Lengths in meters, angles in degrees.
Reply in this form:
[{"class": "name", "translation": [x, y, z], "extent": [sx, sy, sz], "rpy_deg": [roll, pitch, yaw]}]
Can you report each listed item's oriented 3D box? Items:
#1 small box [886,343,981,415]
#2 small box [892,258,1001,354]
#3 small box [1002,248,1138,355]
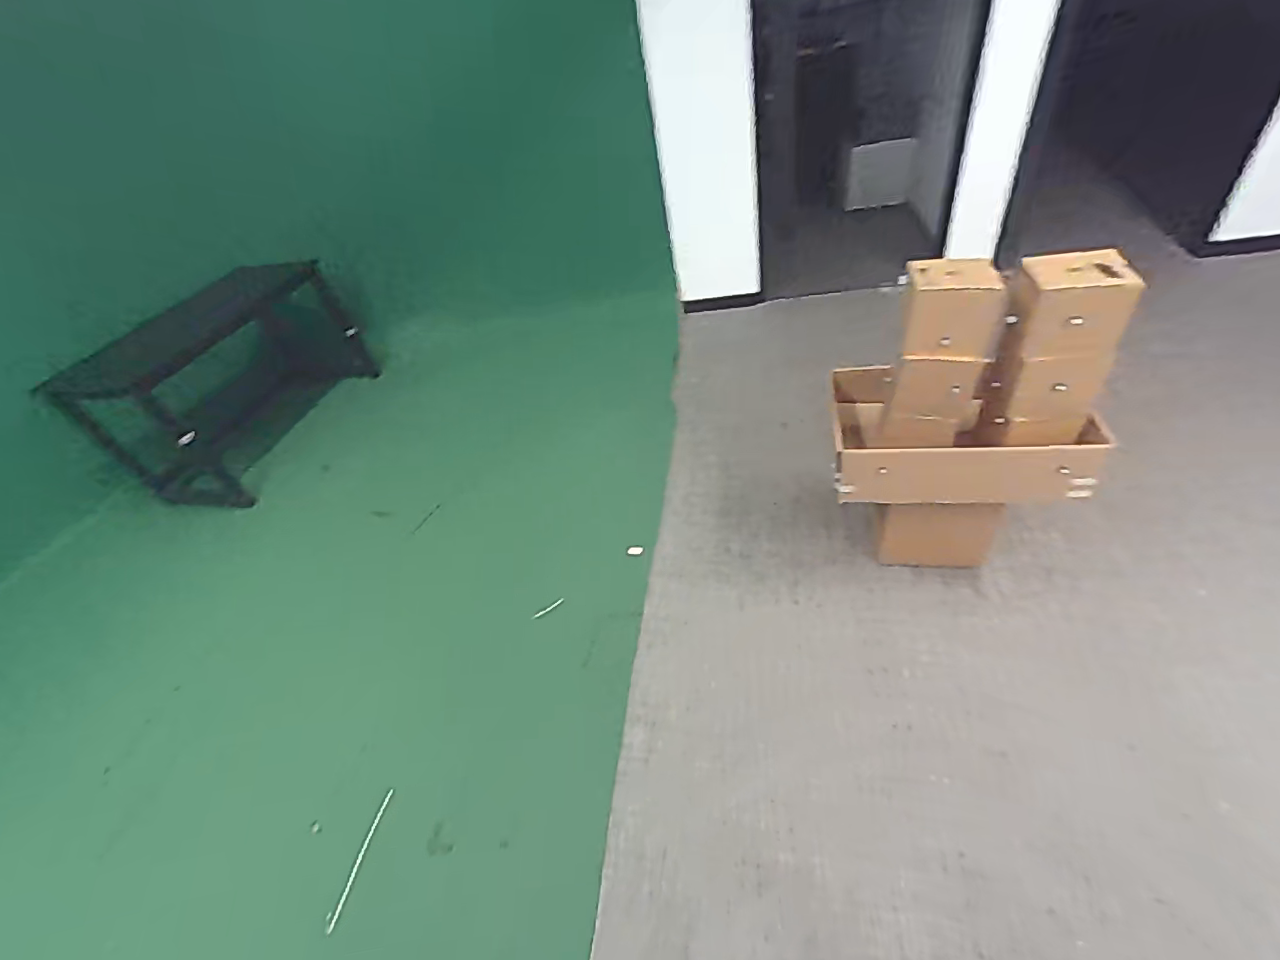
[{"class": "small box", "translation": [0.745, -0.282, 1.391], "extent": [0.179, 0.176, 0.168], "rpy_deg": [6, 44, 17]}, {"class": "small box", "translation": [0.725, -0.416, 1.298], "extent": [0.179, 0.176, 0.168], "rpy_deg": [5, 44, 13]}, {"class": "small box", "translation": [0.948, -0.395, 1.211], "extent": [0.179, 0.176, 0.168], "rpy_deg": [1, 45, 17]}]
